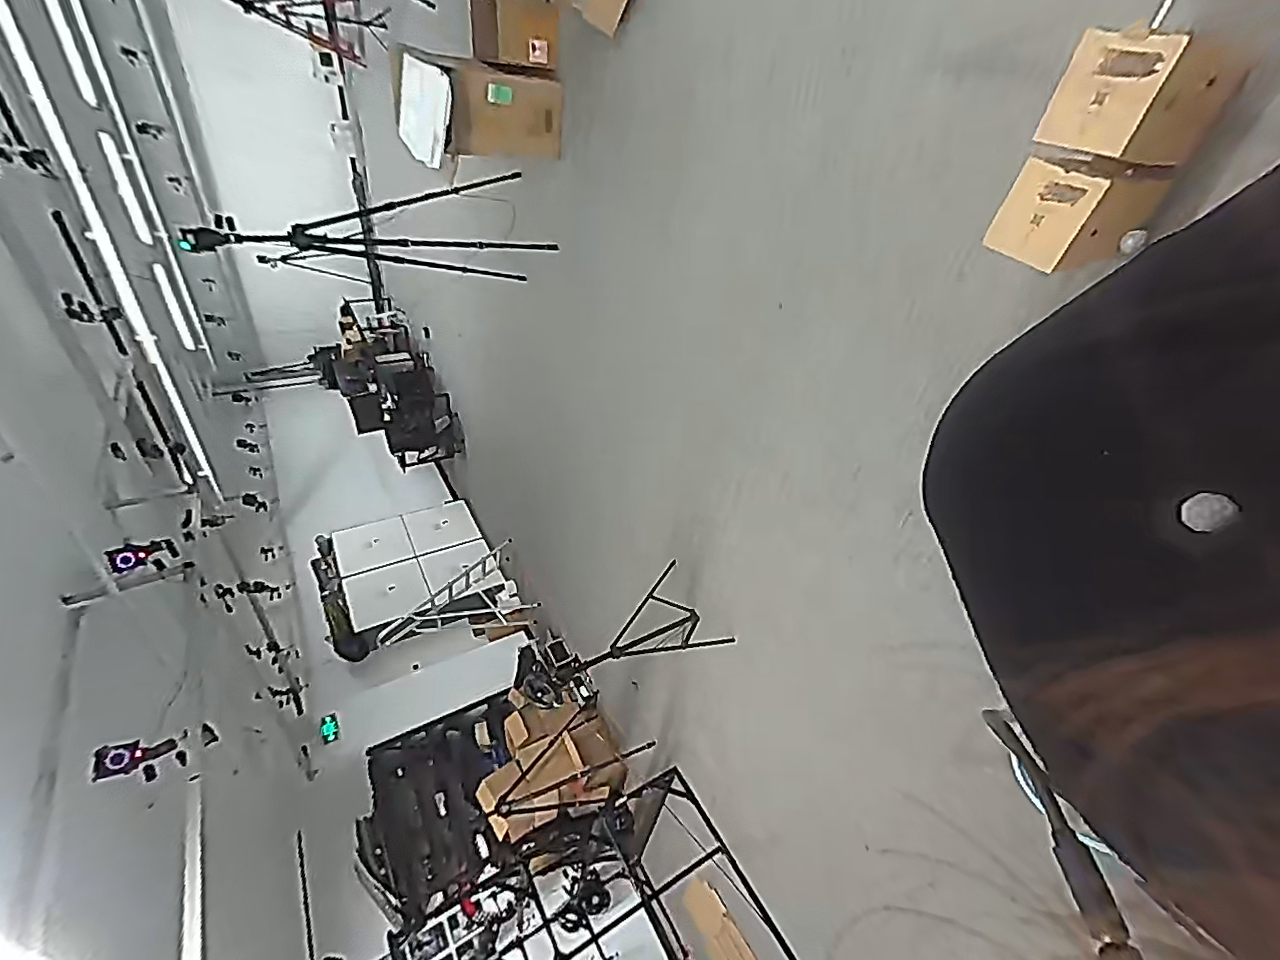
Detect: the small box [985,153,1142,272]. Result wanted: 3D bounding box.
[{"bbox_3d":[0.878,-0.557,1.121,0.168,0.176,0.179,53,148,35],"label":"small box"}]
